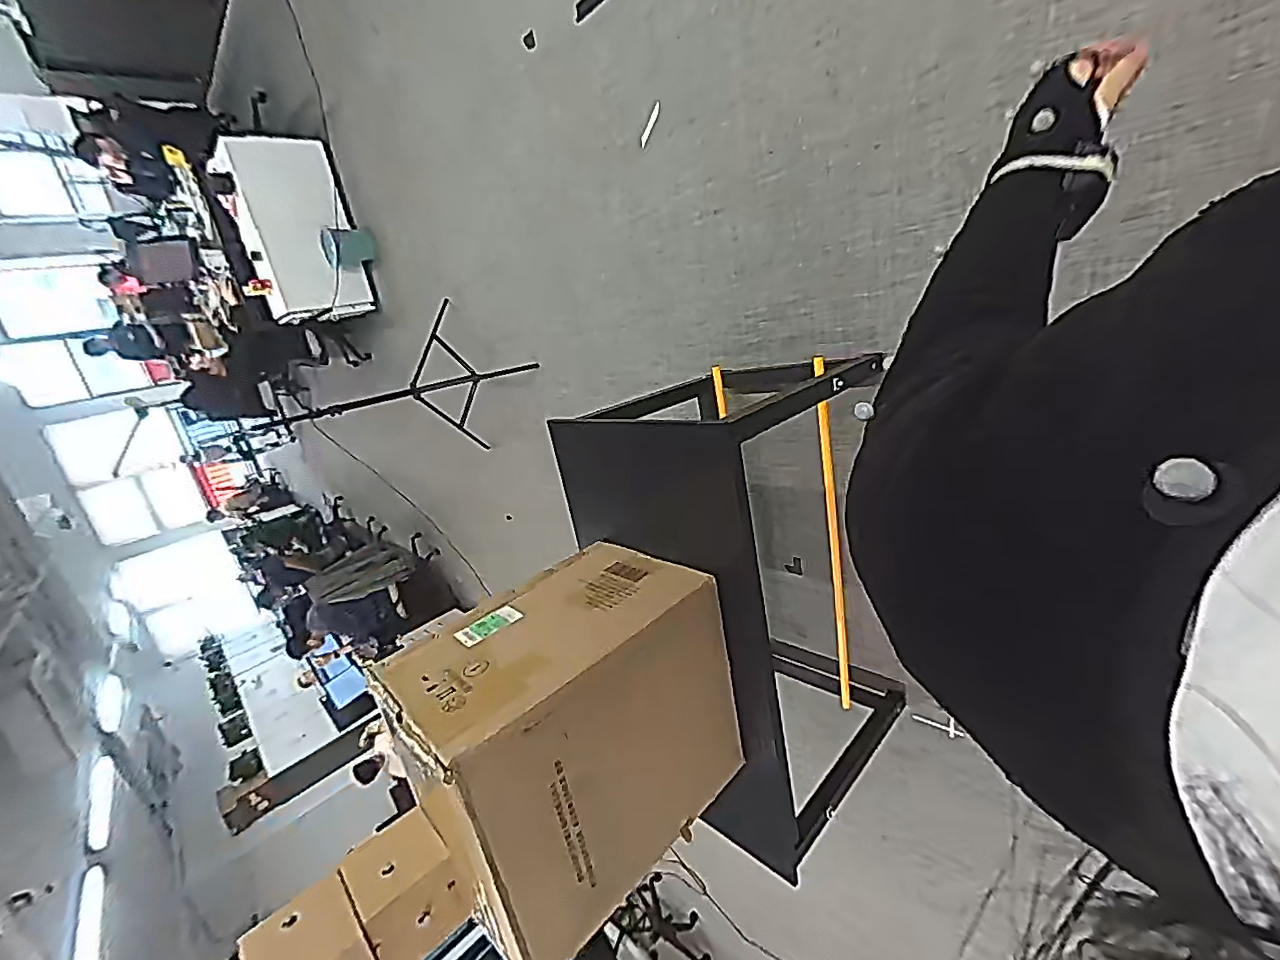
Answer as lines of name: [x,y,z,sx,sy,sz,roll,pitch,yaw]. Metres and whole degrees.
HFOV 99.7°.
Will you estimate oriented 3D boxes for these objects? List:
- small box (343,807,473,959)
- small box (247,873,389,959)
small box: [-0.449,0.796,1.066,0.179,0.176,0.168,8,115,47]
small box: [-0.557,0.850,0.955,0.179,0.176,0.168,11,118,46]
